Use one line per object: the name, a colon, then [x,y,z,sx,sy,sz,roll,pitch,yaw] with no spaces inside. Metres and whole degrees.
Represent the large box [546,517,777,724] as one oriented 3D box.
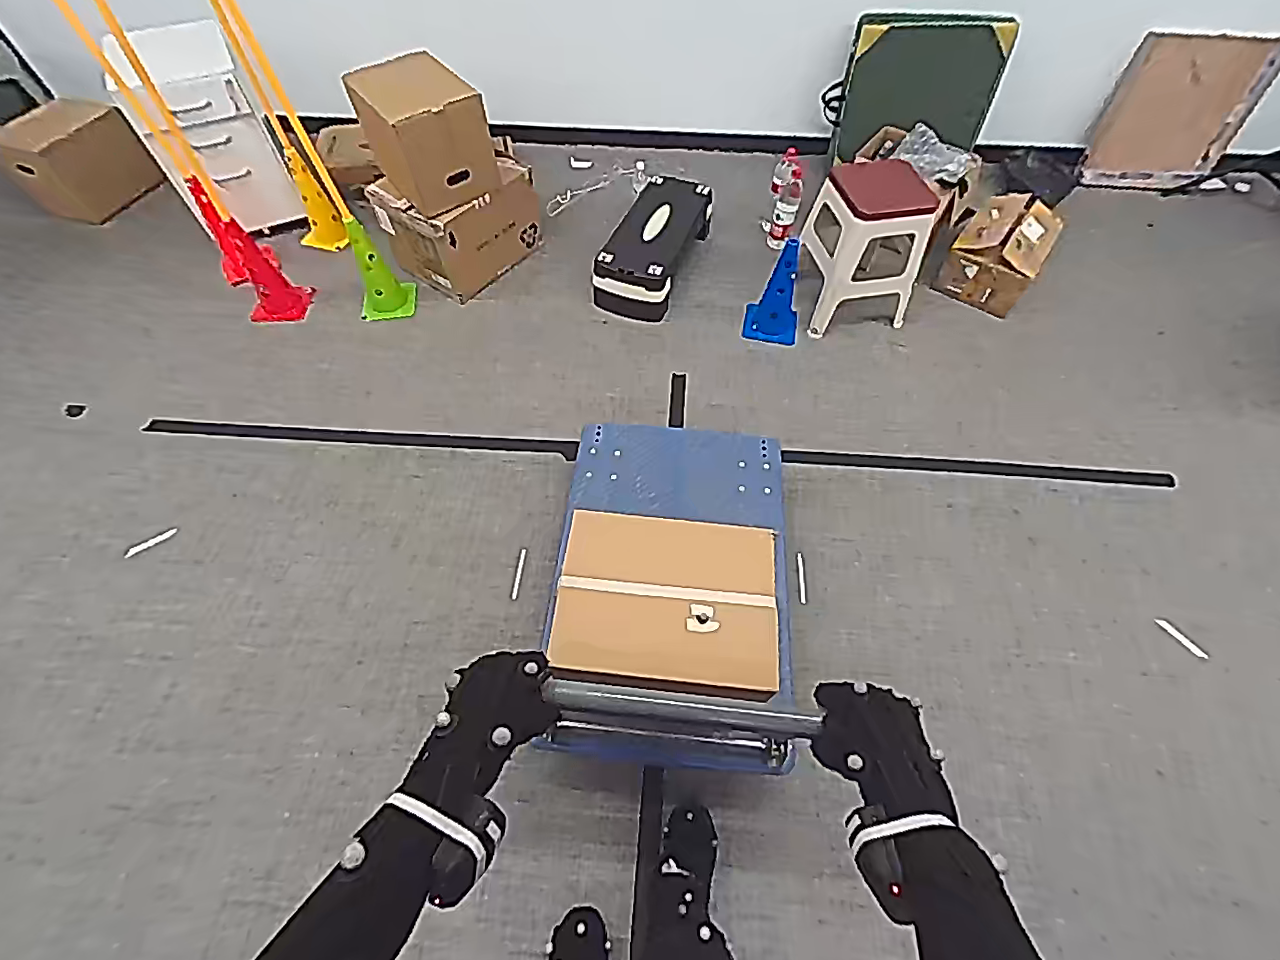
large box: [0.041,0.300,1.121,0.408,0.320,0.320,6,58,1]
